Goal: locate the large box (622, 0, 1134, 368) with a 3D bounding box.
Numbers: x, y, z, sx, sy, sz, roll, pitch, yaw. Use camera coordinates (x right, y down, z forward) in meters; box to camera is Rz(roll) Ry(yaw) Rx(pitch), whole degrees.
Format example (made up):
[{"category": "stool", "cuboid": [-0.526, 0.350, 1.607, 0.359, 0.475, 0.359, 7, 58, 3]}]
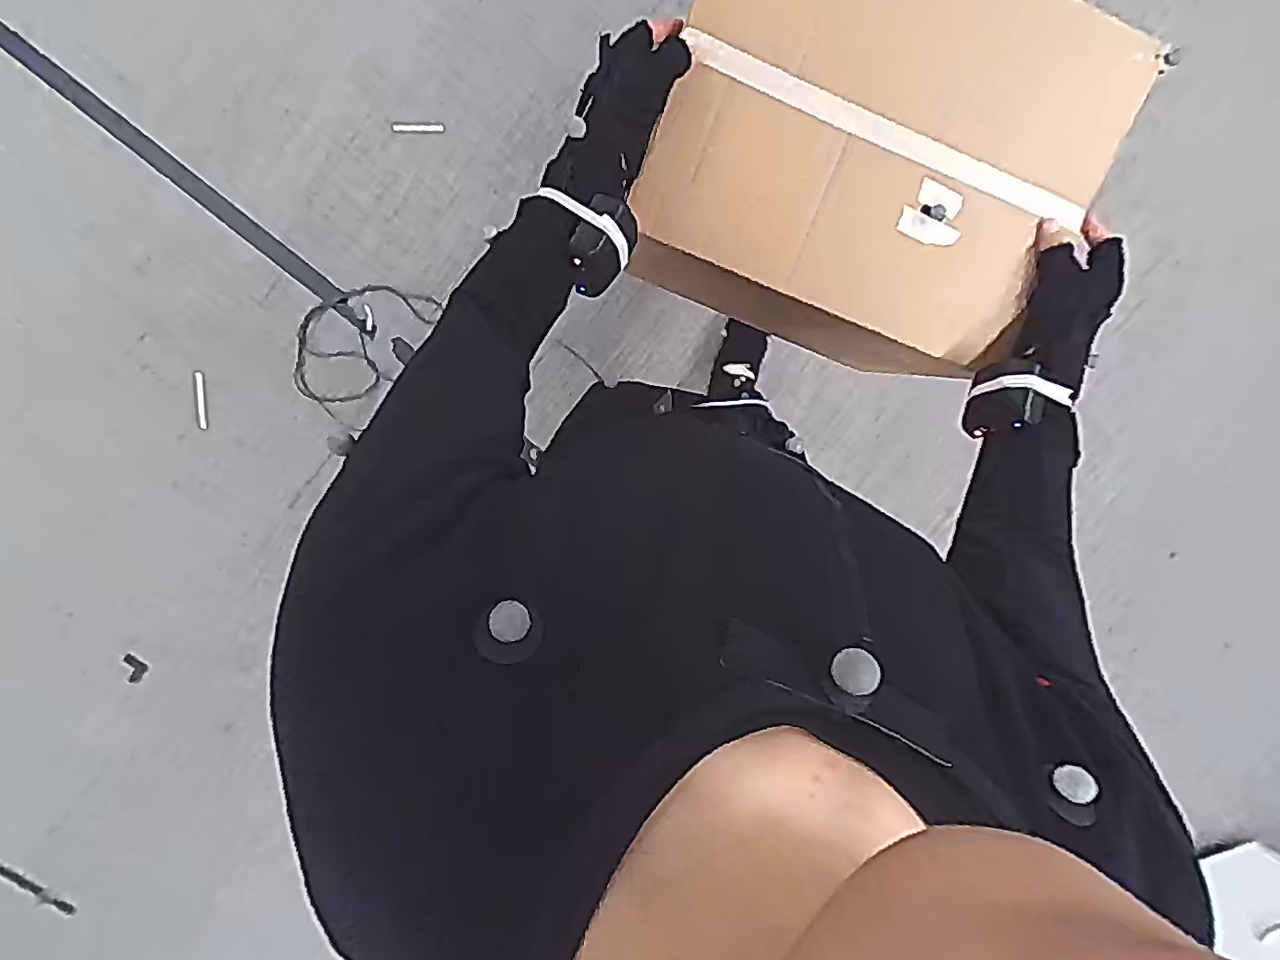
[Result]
[{"category": "large box", "cuboid": [0.214, -0.352, 0.651, 0.408, 0.320, 0.320, 20, 103, -7]}]
